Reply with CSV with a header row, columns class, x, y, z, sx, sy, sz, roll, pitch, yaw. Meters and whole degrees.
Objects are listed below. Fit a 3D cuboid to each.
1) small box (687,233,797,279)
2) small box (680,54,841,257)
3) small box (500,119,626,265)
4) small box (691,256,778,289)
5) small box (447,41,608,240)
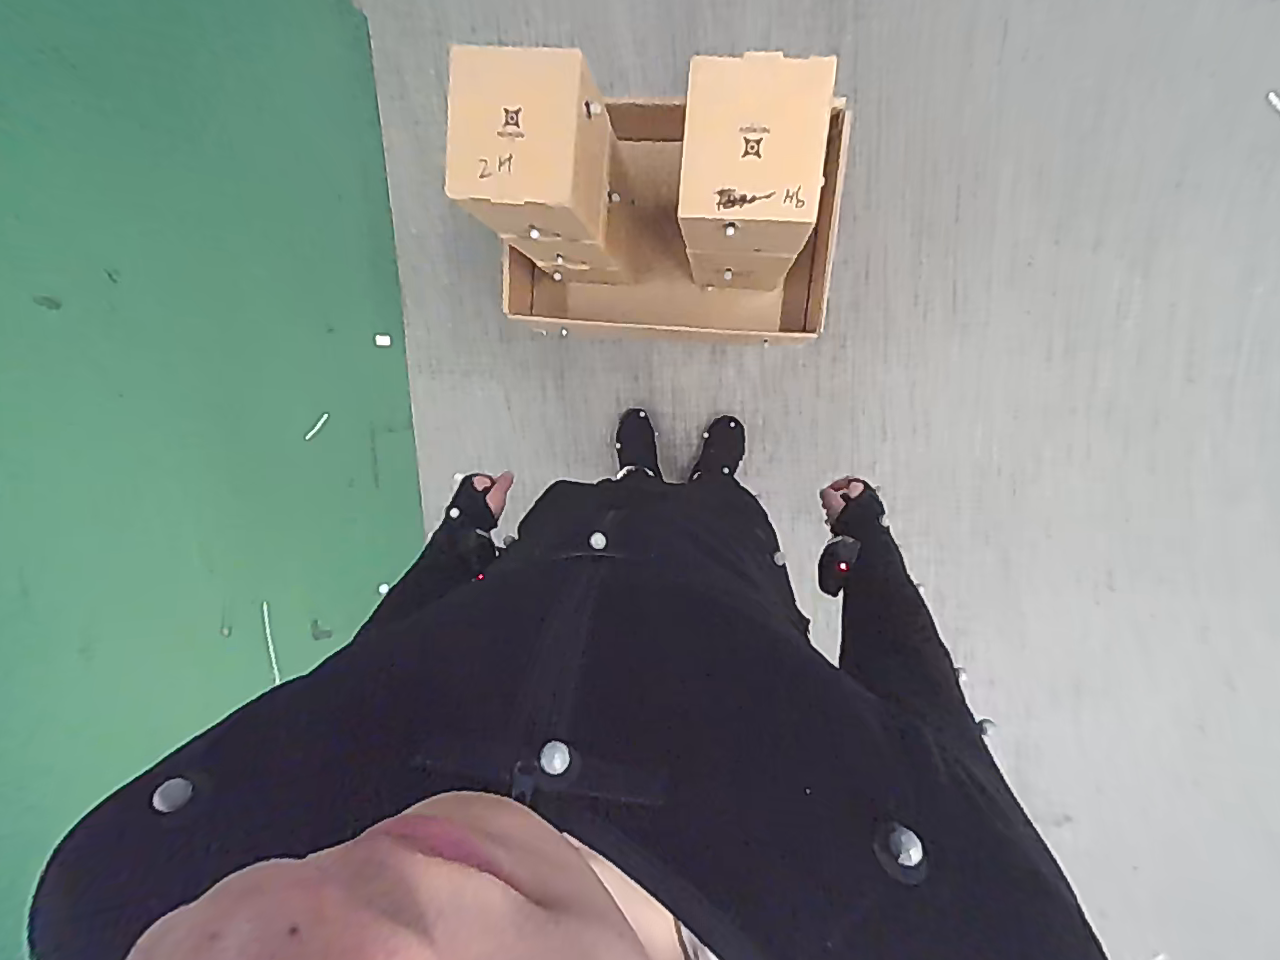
class,x,y,z,sx,sy,sz,roll,pitch,yaw
small box,0.169,-0.434,0.864,0.168,0.176,0.179,7,101,8
small box,0.147,-0.407,0.703,0.168,0.176,0.179,7,100,8
small box,-0.120,-0.472,0.900,0.168,0.176,0.179,7,101,7
small box,0.192,-0.467,1.022,0.168,0.176,0.179,7,100,7
small box,-0.143,-0.448,0.738,0.168,0.176,0.179,8,101,7
